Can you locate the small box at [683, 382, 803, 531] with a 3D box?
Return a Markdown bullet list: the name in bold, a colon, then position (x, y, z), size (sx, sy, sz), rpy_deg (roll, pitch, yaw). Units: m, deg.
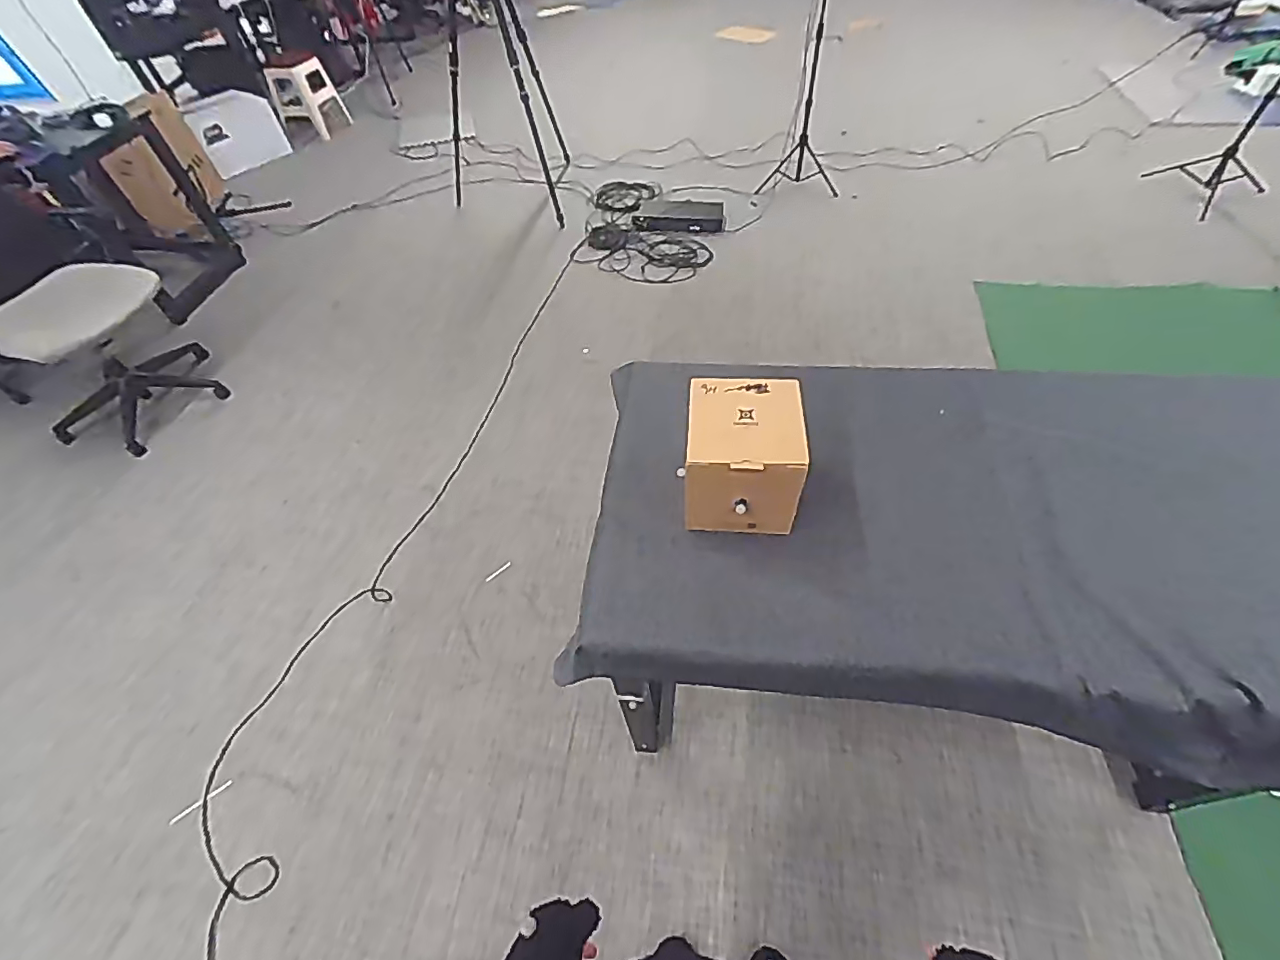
- **small box**: position (0.156, -0.034, 0.850), size (0.168, 0.176, 0.179), rpy_deg (2, 52, 7)
